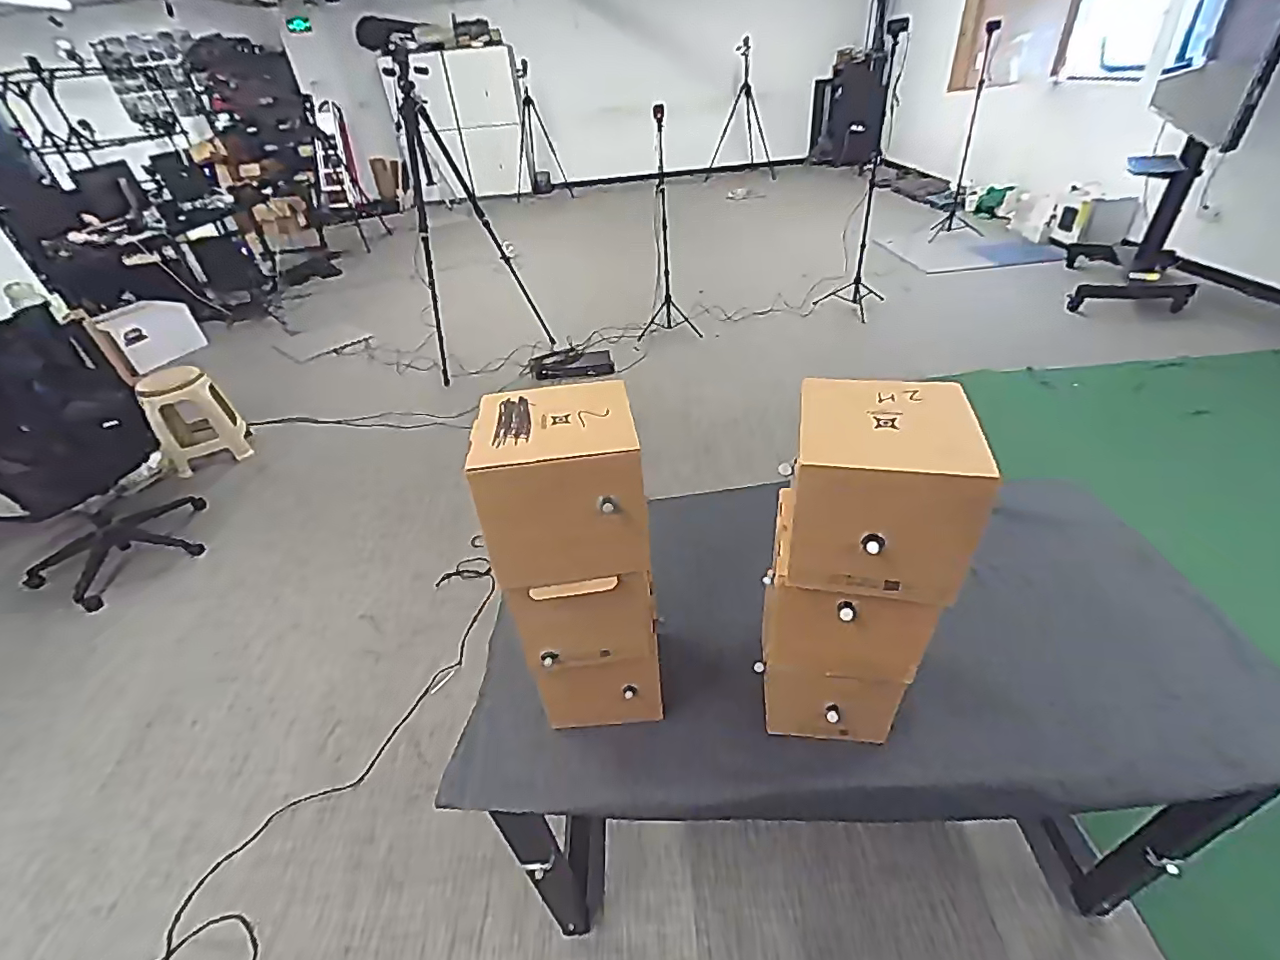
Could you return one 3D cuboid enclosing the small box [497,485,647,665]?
[{"bbox_3d":[-0.086,0.133,0.738,0.168,0.176,0.179,-8,35,-3],"label":"small box"}]

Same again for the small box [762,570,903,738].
[{"bbox_3d":[0.268,0.254,0.795,0.168,0.176,0.179,0,38,9],"label":"small box"}]

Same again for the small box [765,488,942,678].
[{"bbox_3d":[0.257,0.130,0.690,0.179,0.176,0.168,3,38,14],"label":"small box"}]

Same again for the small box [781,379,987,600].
[{"bbox_3d":[0.243,0.006,0.581,0.168,0.176,0.179,4,38,15],"label":"small box"}]

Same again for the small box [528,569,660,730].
[{"bbox_3d":[-0.062,0.262,0.837,0.179,0.176,0.168,-7,35,1],"label":"small box"}]
